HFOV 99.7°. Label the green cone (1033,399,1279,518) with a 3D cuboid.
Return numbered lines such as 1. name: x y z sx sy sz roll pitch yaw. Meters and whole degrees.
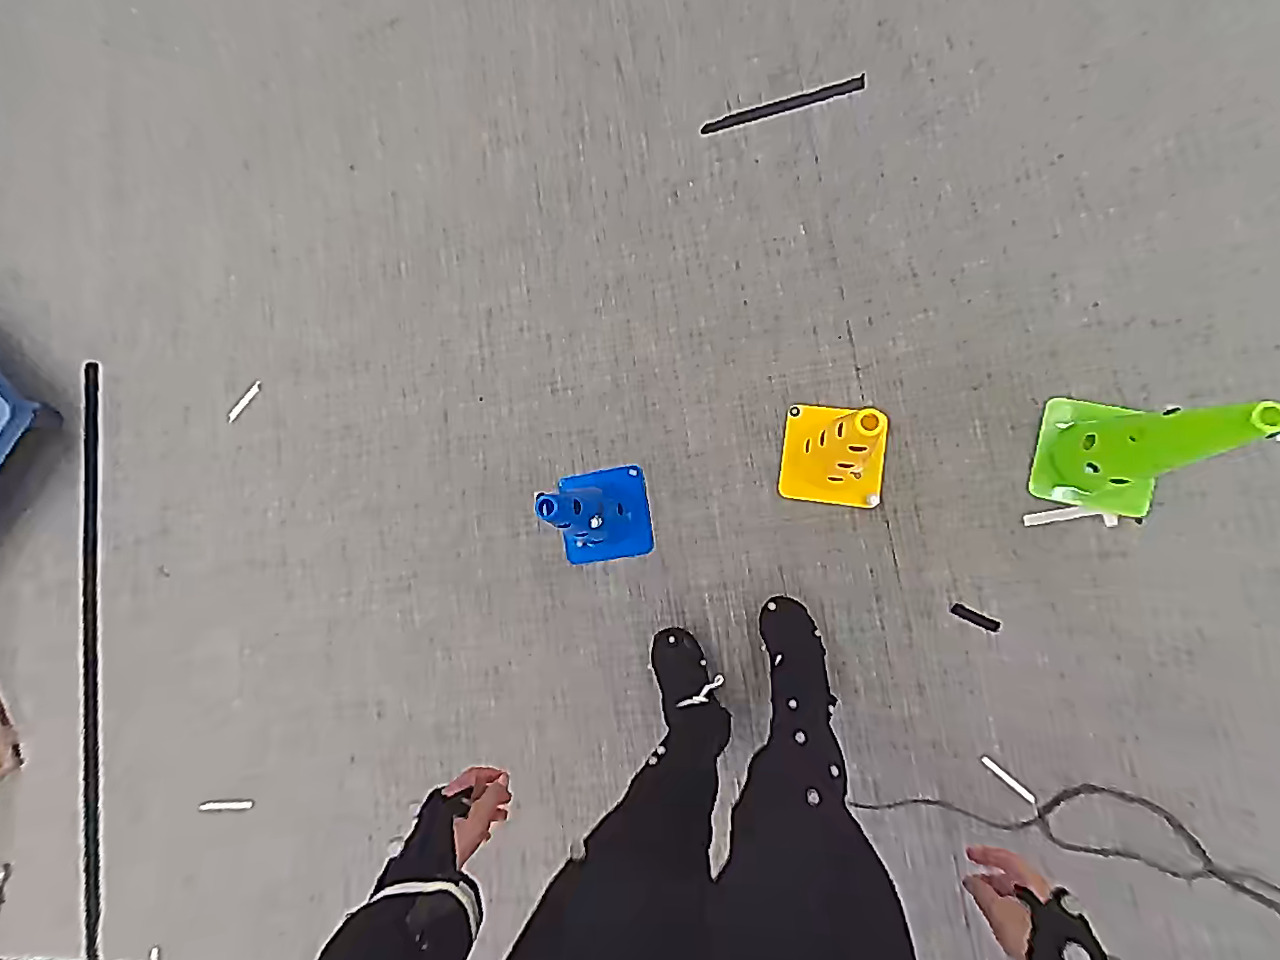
1. green cone: 0.827 -0.058 0.849 0.200 0.368 0.202 12 87 13
